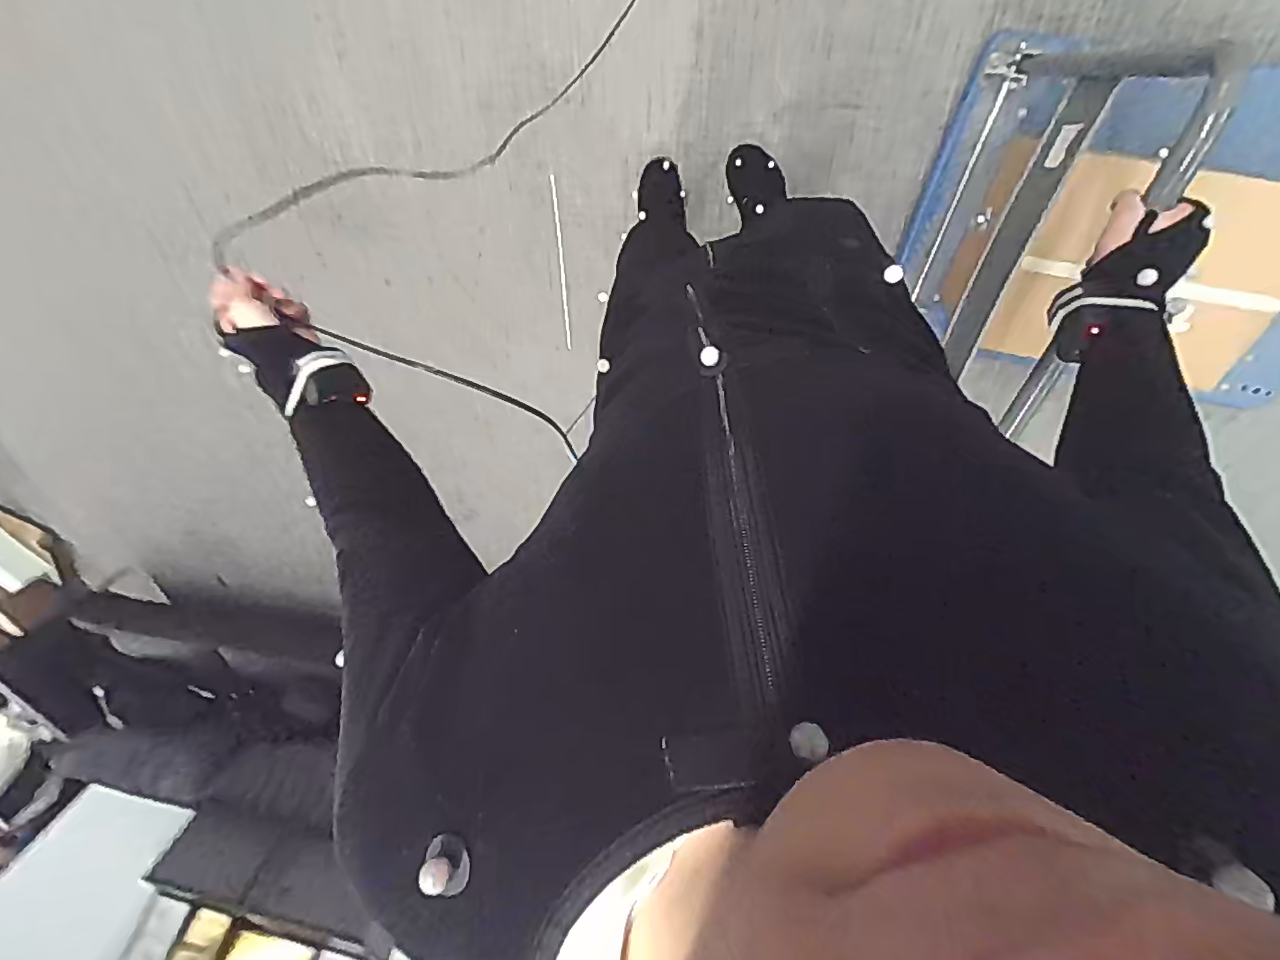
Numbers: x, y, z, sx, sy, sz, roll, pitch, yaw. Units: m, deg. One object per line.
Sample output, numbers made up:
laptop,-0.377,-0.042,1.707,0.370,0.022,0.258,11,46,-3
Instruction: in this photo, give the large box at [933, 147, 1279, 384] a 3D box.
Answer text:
large box,0.839,-0.413,1.006,0.408,0.320,0.320,13,127,6
